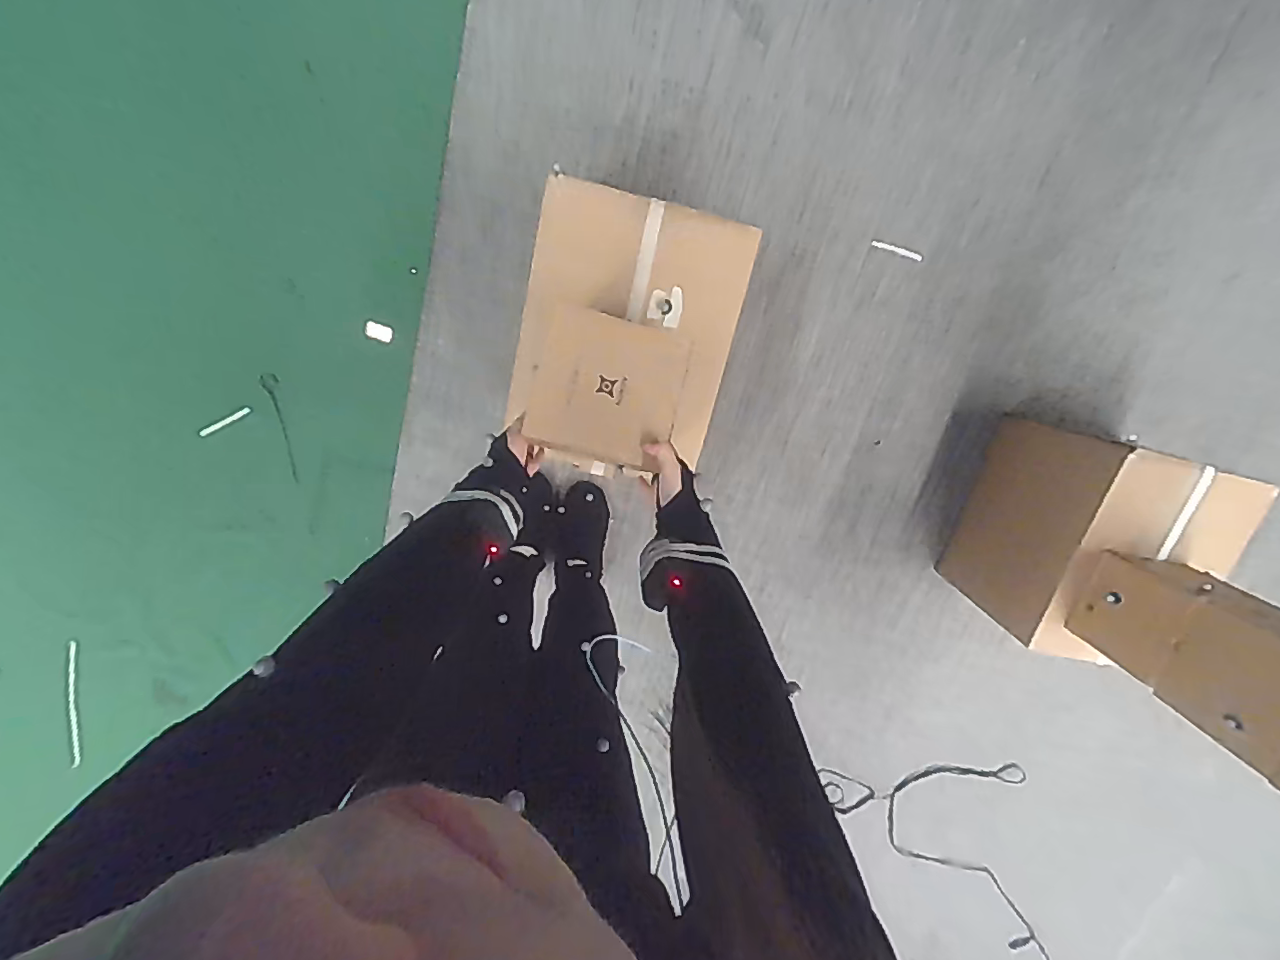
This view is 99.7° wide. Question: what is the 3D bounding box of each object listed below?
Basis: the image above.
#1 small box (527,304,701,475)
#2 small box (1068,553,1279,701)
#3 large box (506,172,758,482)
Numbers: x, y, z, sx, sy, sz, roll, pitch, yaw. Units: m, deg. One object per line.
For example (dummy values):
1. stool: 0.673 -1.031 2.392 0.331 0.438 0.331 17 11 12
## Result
1. small box: -0.041 -0.110 0.721 0.179 0.176 0.168 15 90 -9
2. small box: 0.898 0.241 0.917 0.179 0.176 0.168 11 108 -6
3. large box: -0.026 -0.251 0.954 0.320 0.320 0.408 12 106 -7
